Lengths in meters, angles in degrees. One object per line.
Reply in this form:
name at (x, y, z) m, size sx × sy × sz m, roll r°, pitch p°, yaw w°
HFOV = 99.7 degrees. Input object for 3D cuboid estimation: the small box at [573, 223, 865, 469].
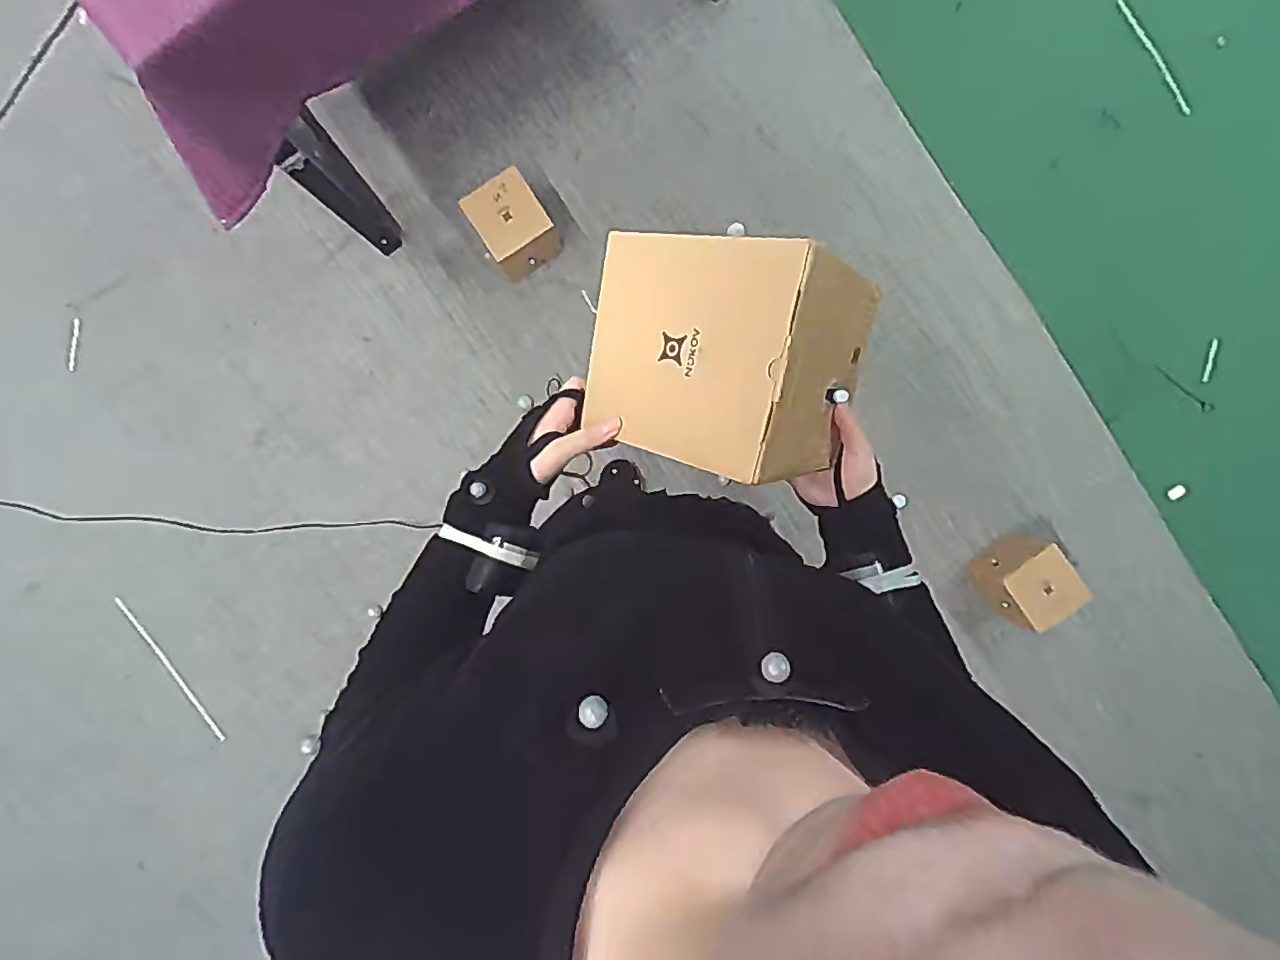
small box at (0.070, -0.114, 0.475) m, size 0.179 × 0.176 × 0.168 m, roll 20°, pitch 107°, yaw 34°

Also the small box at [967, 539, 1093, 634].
small box at (1.014, 0.269, 1.423) m, size 0.168 × 0.176 × 0.179 m, roll -36°, pitch 92°, yaw 1°
